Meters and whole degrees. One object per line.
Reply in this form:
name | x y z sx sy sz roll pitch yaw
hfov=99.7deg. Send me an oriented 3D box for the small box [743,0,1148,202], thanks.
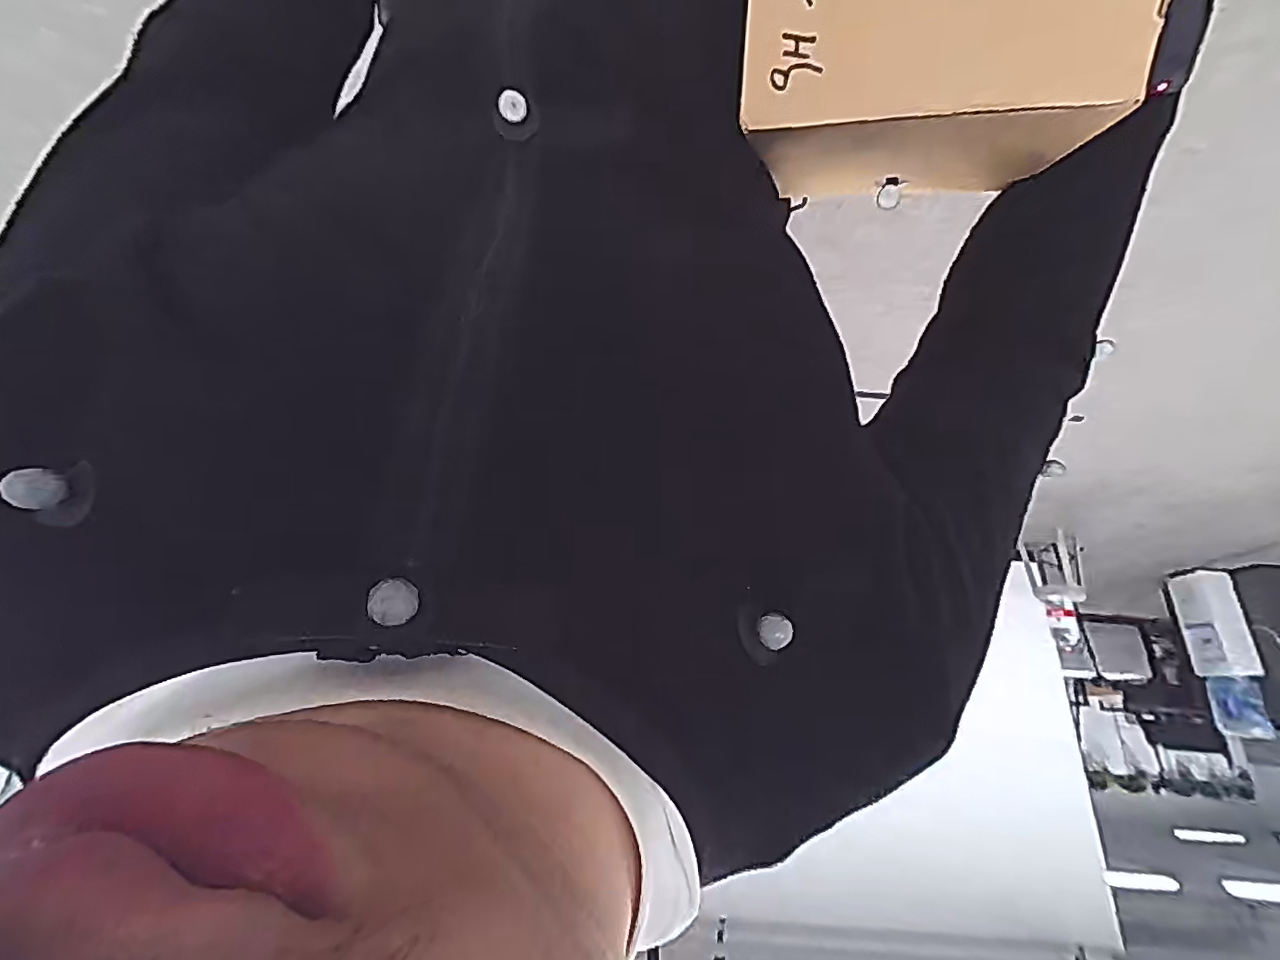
small box | 0.164 -0.274 0.324 0.179 0.168 0.176 7 -163 15
